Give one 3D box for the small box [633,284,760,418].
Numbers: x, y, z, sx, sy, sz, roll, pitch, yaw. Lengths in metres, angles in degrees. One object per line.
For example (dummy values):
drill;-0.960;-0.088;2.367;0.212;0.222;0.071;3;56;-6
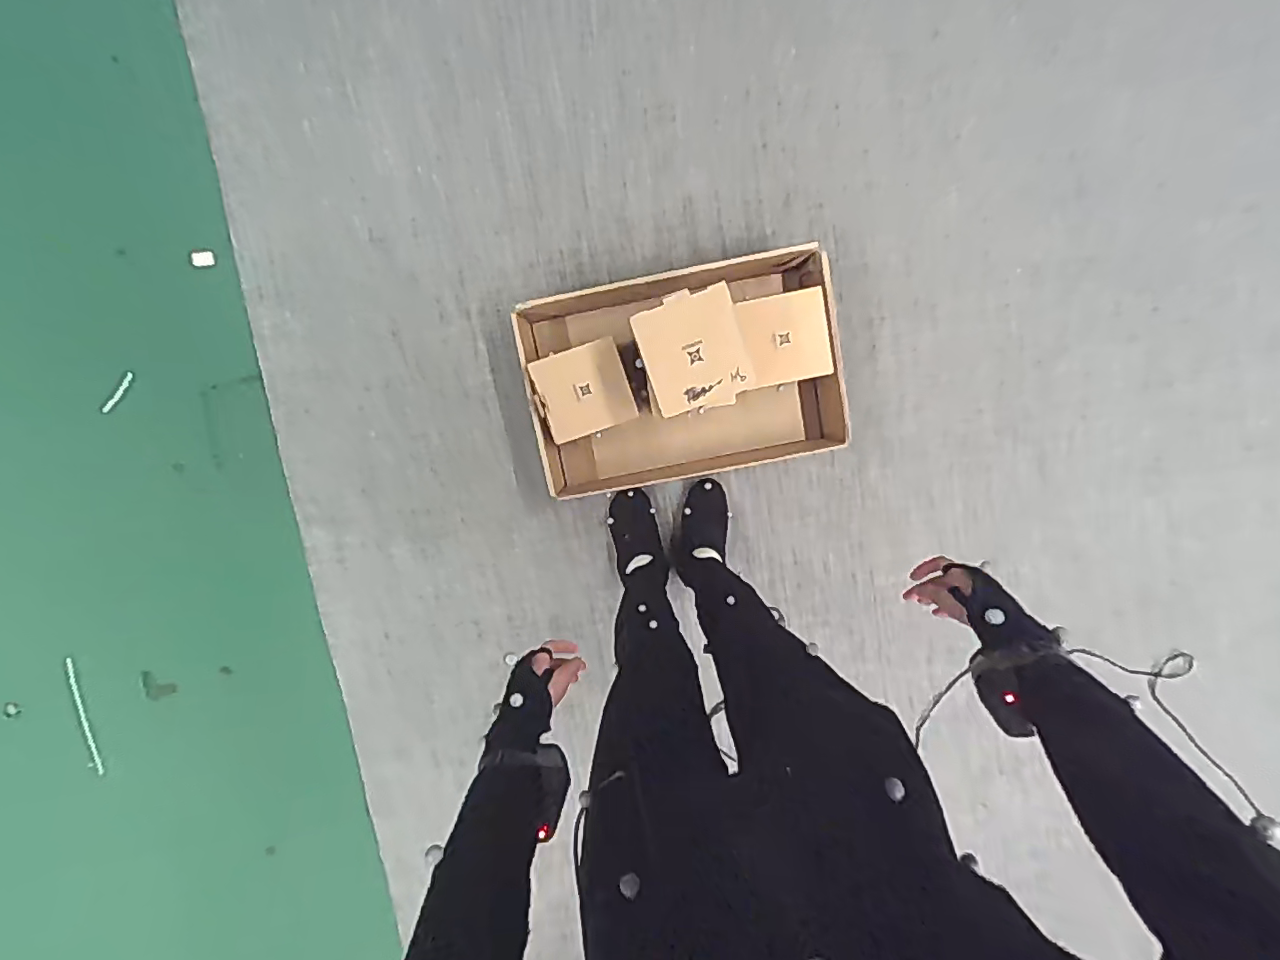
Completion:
small box;0.092;-0.214;0.947;0.168;0.176;0.179;-19;97;4
